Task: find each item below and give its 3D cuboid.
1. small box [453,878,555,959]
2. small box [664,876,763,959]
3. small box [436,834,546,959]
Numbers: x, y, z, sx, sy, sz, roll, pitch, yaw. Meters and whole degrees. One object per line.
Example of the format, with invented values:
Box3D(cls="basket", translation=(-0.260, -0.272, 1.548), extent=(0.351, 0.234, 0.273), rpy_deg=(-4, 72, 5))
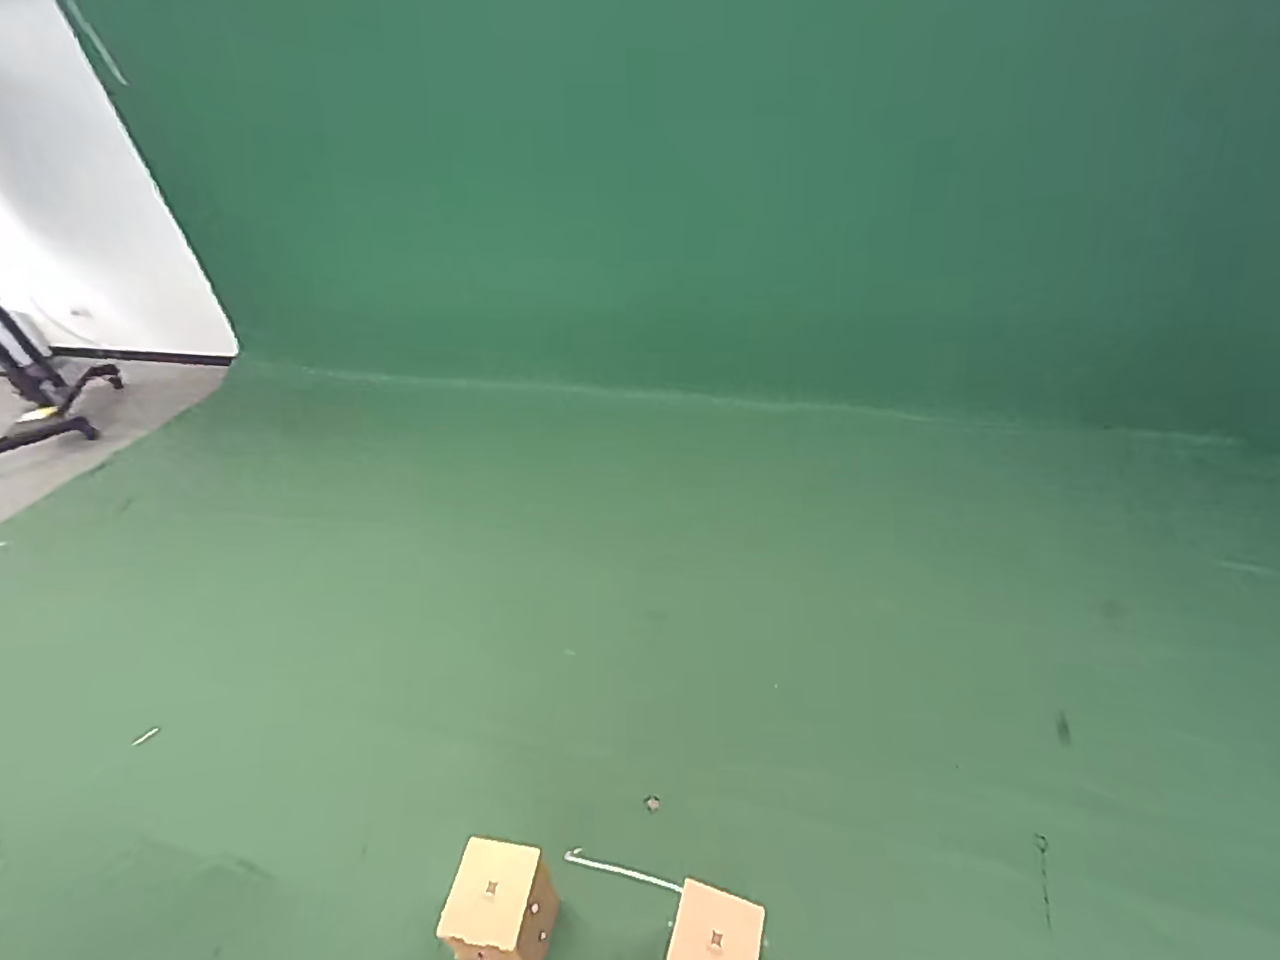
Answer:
Box3D(cls="small box", translation=(-0.306, 1.037, 1.264), extent=(0.168, 0.176, 0.179), rpy_deg=(5, 39, 10))
Box3D(cls="small box", translation=(0.142, 0.946, 1.083), extent=(0.168, 0.176, 0.179), rpy_deg=(10, 41, 17))
Box3D(cls="small box", translation=(-0.309, 0.907, 1.168), extent=(0.168, 0.176, 0.179), rpy_deg=(4, 40, 9))
